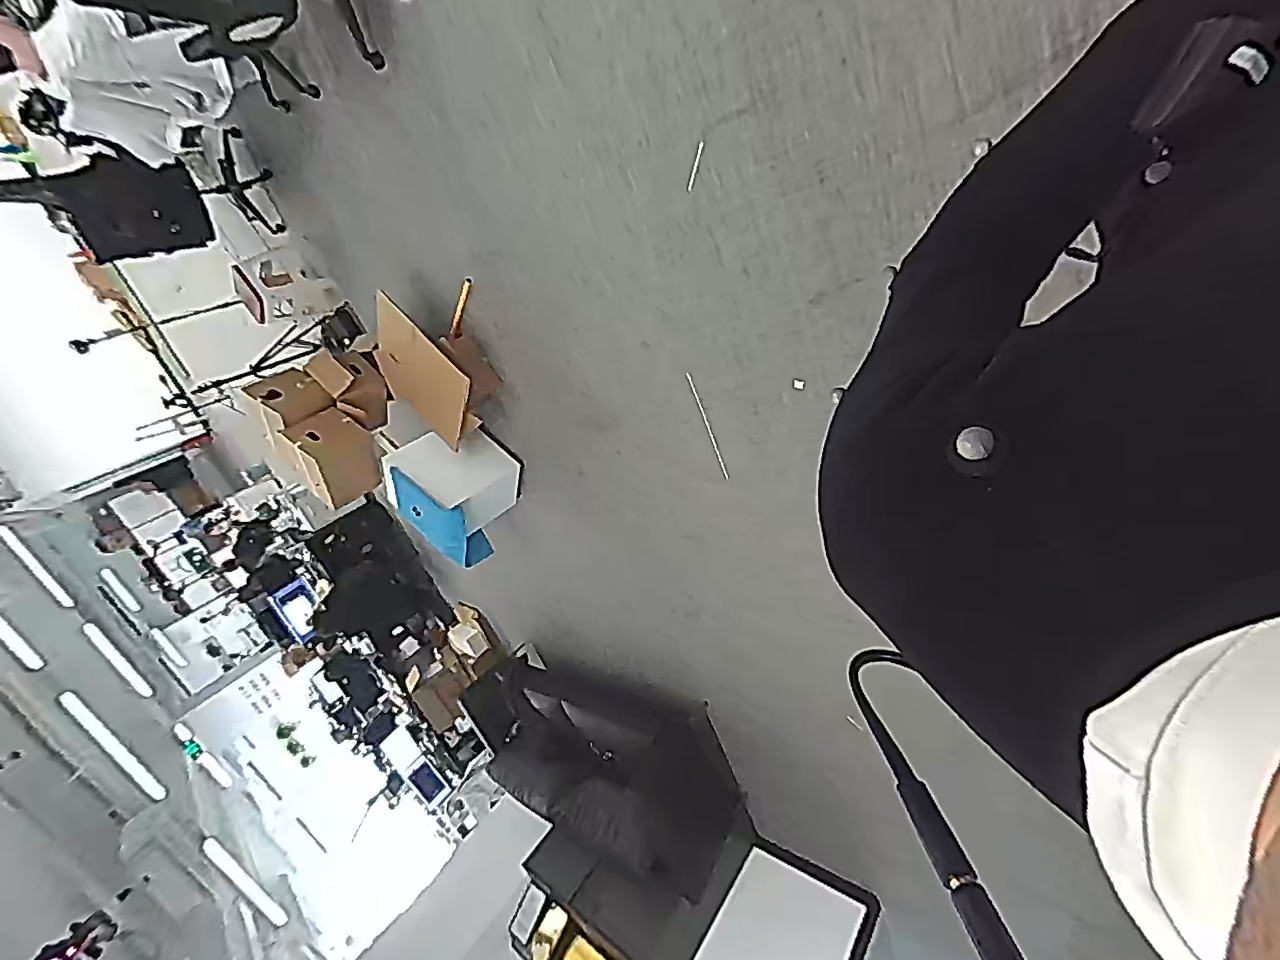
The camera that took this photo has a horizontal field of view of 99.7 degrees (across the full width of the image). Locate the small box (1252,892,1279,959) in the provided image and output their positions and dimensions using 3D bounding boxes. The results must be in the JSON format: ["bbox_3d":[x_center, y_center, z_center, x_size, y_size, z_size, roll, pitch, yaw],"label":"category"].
[{"bbox_3d":[1.457,1.057,1.168,0.168,0.176,0.179,4,121,45],"label":"small box"}]
